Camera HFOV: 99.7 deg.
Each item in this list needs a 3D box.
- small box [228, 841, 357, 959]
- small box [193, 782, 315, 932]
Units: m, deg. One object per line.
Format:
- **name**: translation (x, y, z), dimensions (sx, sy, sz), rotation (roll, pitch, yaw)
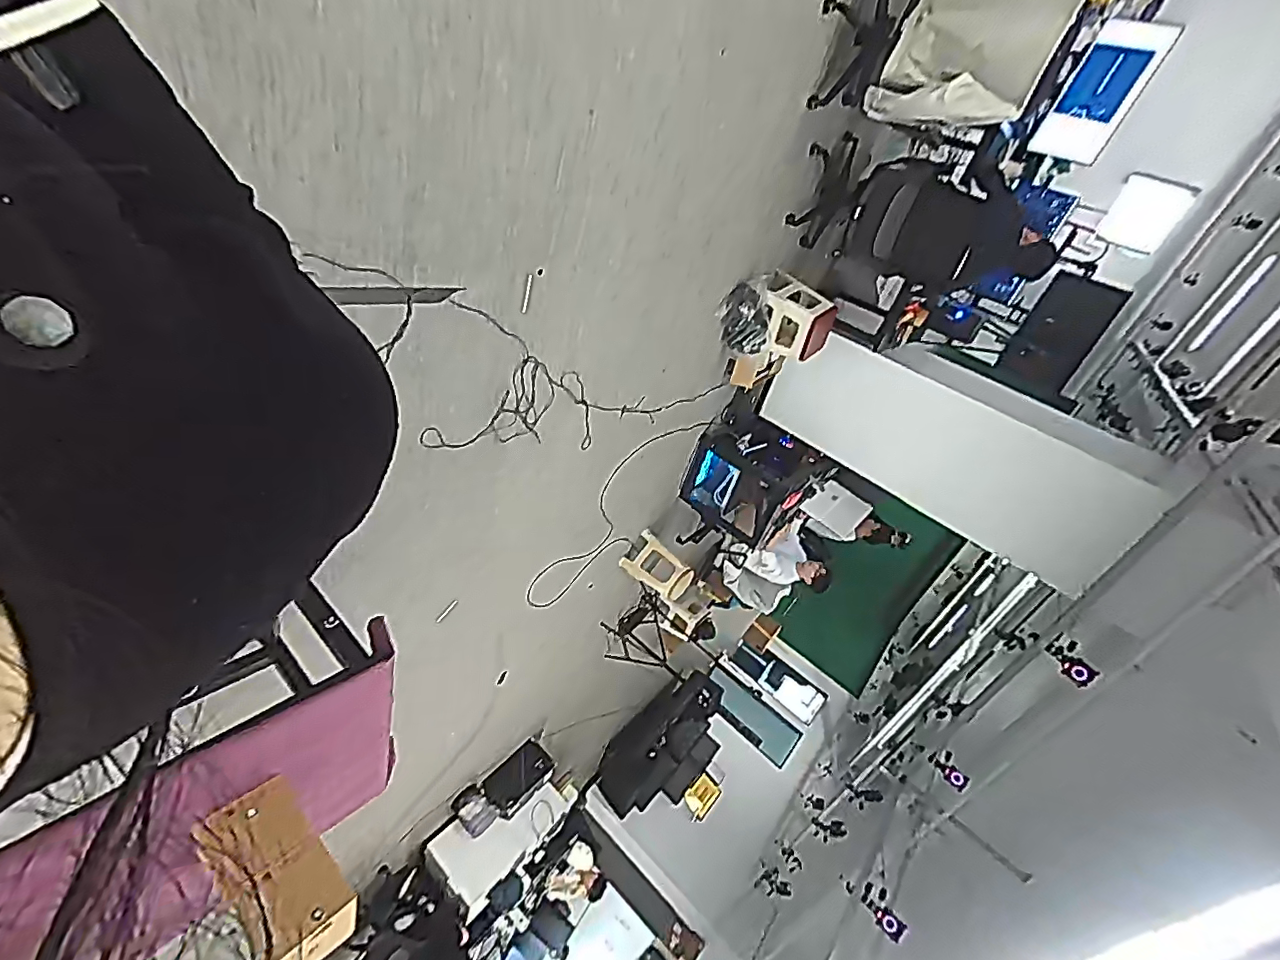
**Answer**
- **small box**: translation (-0.703, 0.885, 1.094), dimensions (0.168, 0.176, 0.179), rotation (-21, 140, -50)
- **small box**: translation (-0.824, 0.798, 1.162), dimensions (0.168, 0.176, 0.179), rotation (-22, 140, -49)
